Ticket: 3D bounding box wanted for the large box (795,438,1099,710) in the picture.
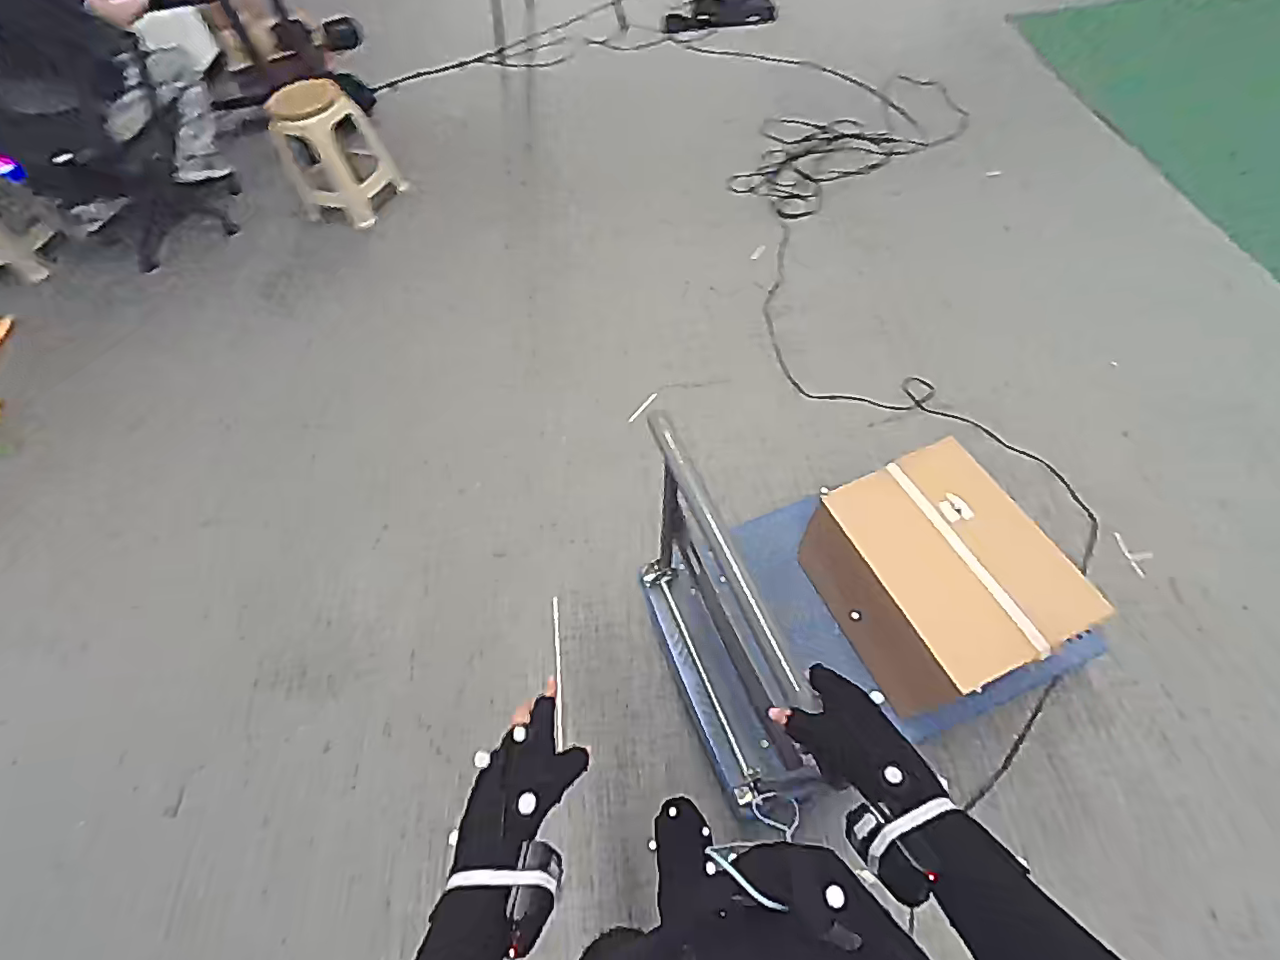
[{"bbox_3d":[0.577,0.198,1.118,0.320,0.320,0.408,-23,59,-8],"label":"large box"}]
